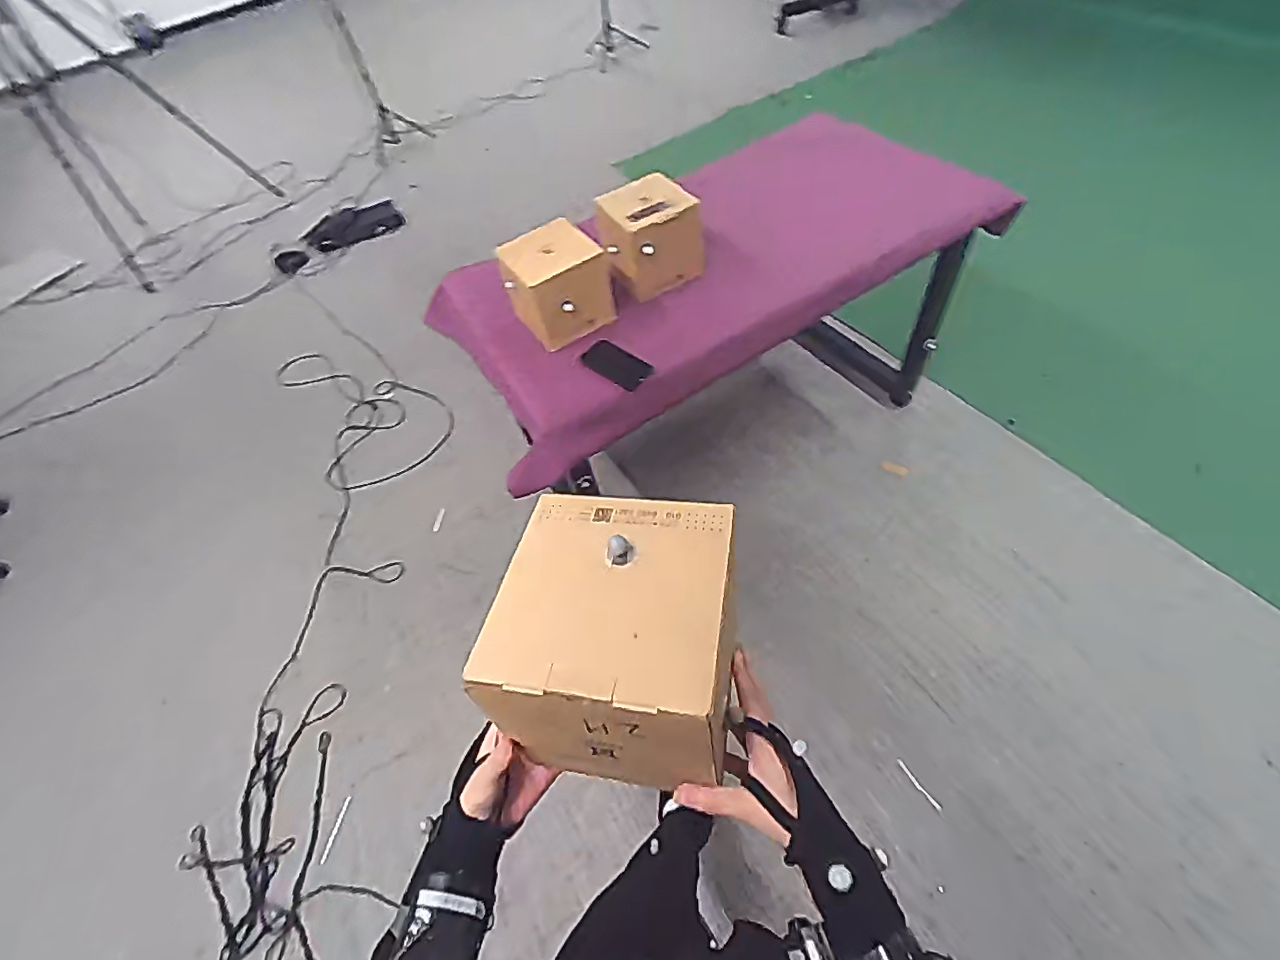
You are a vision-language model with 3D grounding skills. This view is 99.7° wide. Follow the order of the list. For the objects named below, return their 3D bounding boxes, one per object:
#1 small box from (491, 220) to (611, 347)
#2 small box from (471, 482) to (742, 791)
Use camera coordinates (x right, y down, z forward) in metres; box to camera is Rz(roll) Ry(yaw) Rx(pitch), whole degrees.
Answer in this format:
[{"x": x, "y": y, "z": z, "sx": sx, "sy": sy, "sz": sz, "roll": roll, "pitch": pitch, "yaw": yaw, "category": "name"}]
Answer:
[{"x": -0.180, "y": -0.405, "z": 1.135, "sx": 0.168, "sy": 0.176, "sz": 0.179, "roll": -33, "pitch": 56, "yaw": -13, "category": "small box"}, {"x": -0.005, "y": 0.125, "z": 0.444, "sx": 0.168, "sy": 0.179, "sz": 0.176, "roll": 3, "pitch": 46, "yaw": 13, "category": "small box"}]
